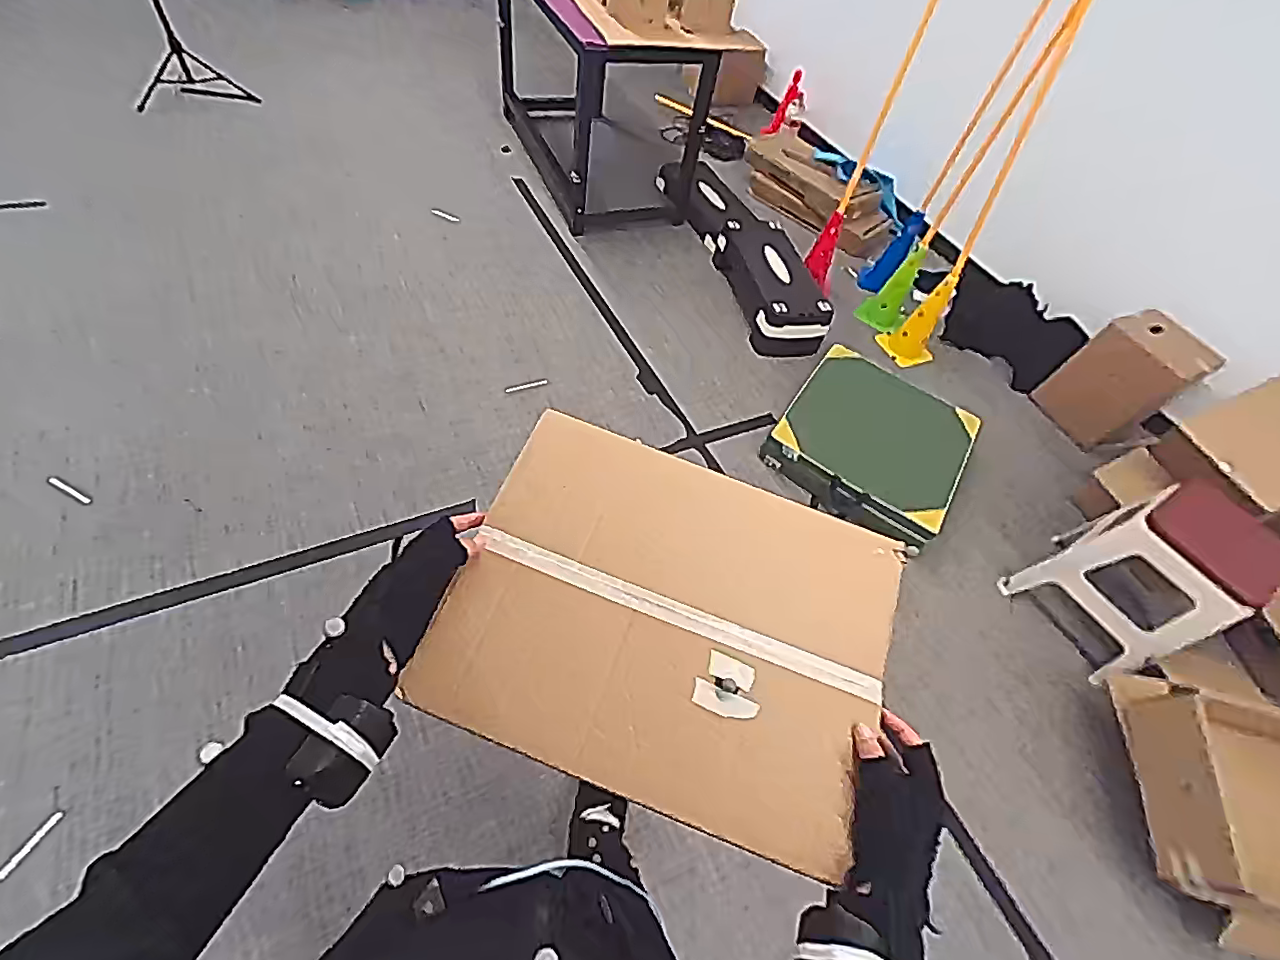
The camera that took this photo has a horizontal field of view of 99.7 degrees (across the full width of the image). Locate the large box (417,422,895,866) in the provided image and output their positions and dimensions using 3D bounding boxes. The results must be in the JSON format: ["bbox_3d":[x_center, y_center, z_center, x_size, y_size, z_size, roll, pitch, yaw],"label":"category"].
[{"bbox_3d":[0.021,0.190,0.659,0.408,0.320,0.320,21,66,3],"label":"large box"}]
